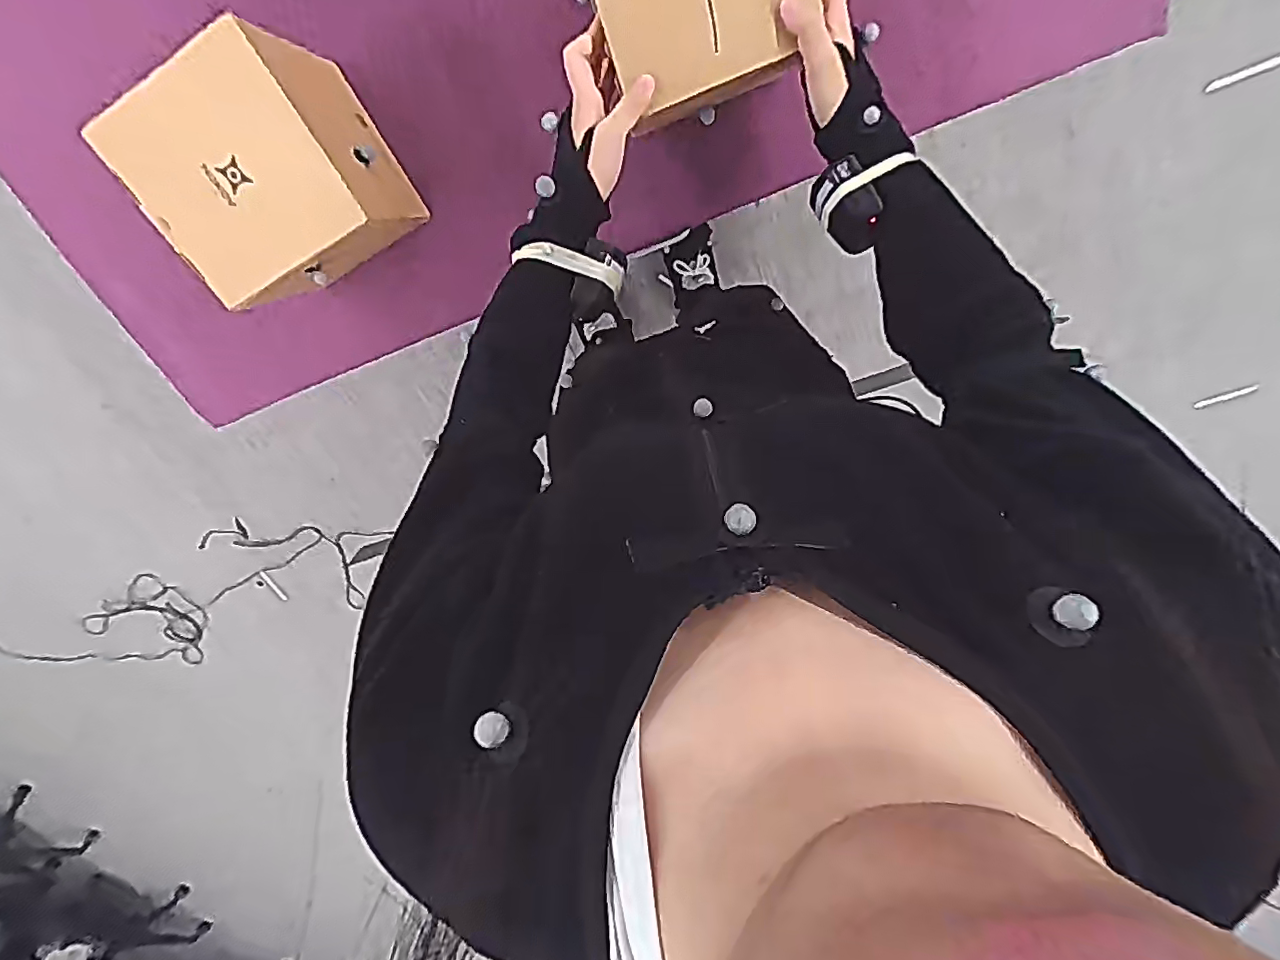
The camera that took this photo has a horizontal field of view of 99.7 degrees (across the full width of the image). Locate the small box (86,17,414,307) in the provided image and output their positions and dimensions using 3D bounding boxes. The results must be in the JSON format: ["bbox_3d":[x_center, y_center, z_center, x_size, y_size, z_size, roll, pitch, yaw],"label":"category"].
[{"bbox_3d":[-0.354,-0.301,0.539,0.179,0.176,0.168,-25,115,13],"label":"small box"}]

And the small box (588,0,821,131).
[{"bbox_3d":[0.039,-0.432,0.468,0.168,0.176,0.179,-17,119,9],"label":"small box"}]
